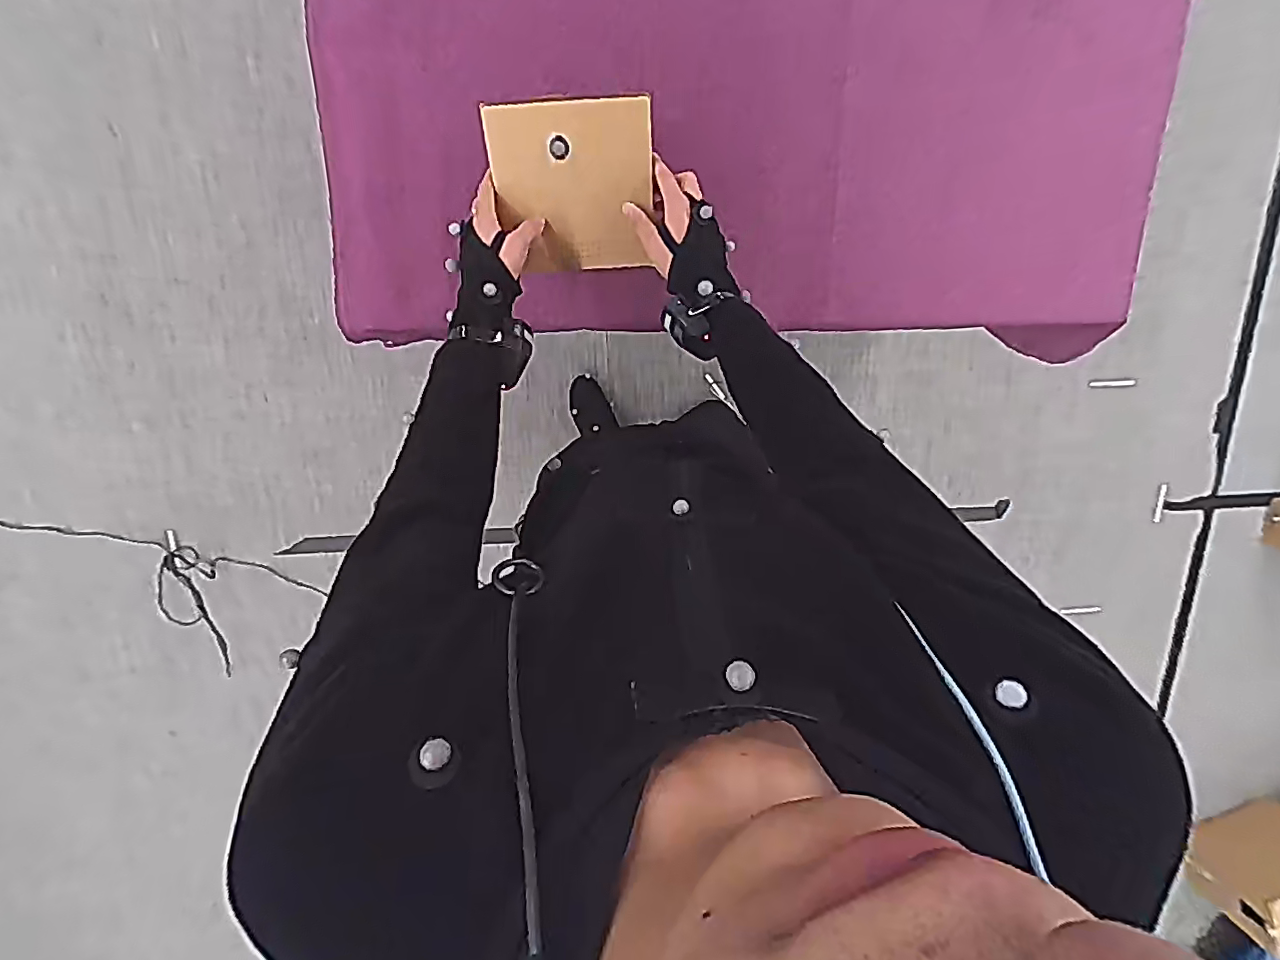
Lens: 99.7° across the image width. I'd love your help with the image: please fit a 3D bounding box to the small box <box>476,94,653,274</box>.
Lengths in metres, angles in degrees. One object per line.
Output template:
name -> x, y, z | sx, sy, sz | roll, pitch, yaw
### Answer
small box -> -0.077, -0.352, 0.651 | 0.179, 0.168, 0.176 | -2, 123, 0
